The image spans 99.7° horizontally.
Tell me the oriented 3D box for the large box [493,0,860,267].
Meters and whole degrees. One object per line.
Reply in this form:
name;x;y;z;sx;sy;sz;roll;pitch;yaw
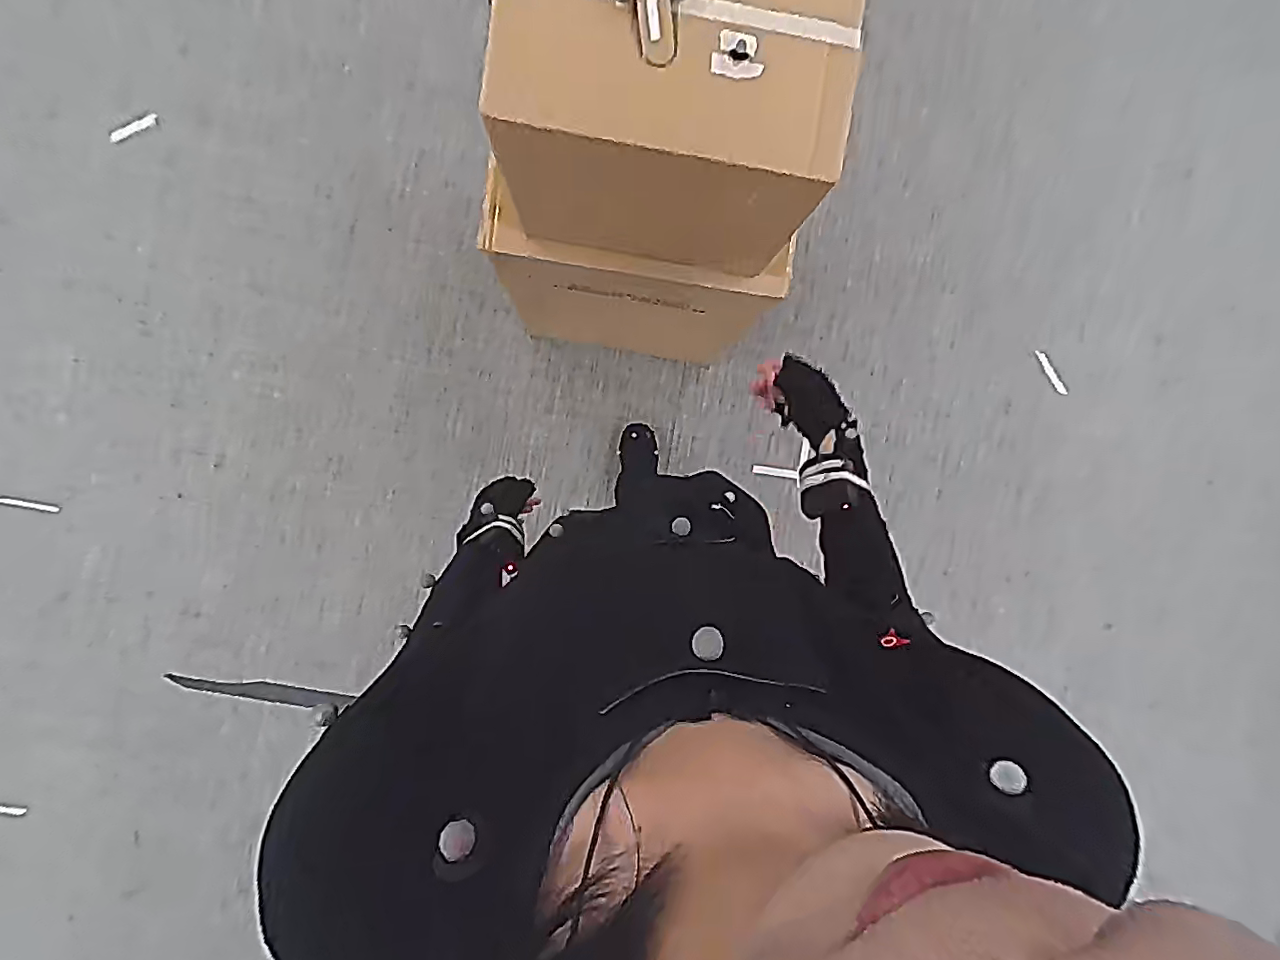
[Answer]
large box;0.037;-0.530;0.755;0.408;0.320;0.320;8;91;-5
